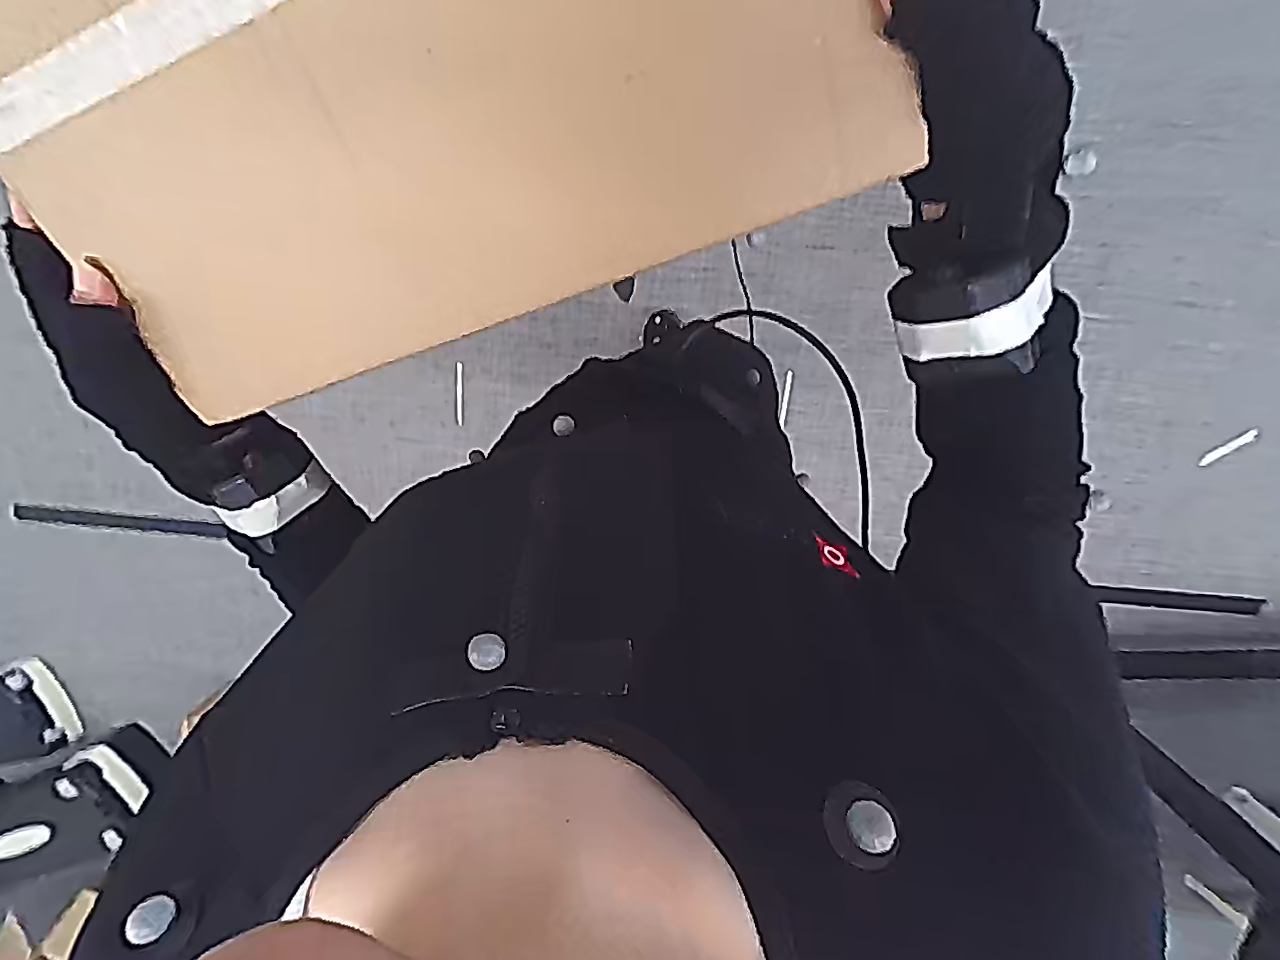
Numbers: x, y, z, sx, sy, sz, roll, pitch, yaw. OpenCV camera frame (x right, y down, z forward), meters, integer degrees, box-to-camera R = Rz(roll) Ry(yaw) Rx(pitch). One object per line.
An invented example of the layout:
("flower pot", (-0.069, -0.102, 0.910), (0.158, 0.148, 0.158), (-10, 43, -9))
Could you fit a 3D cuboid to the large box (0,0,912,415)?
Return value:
("large box", (-0.100, -0.290, 0.348), (0.408, 0.320, 0.320), (-15, 117, 13))
